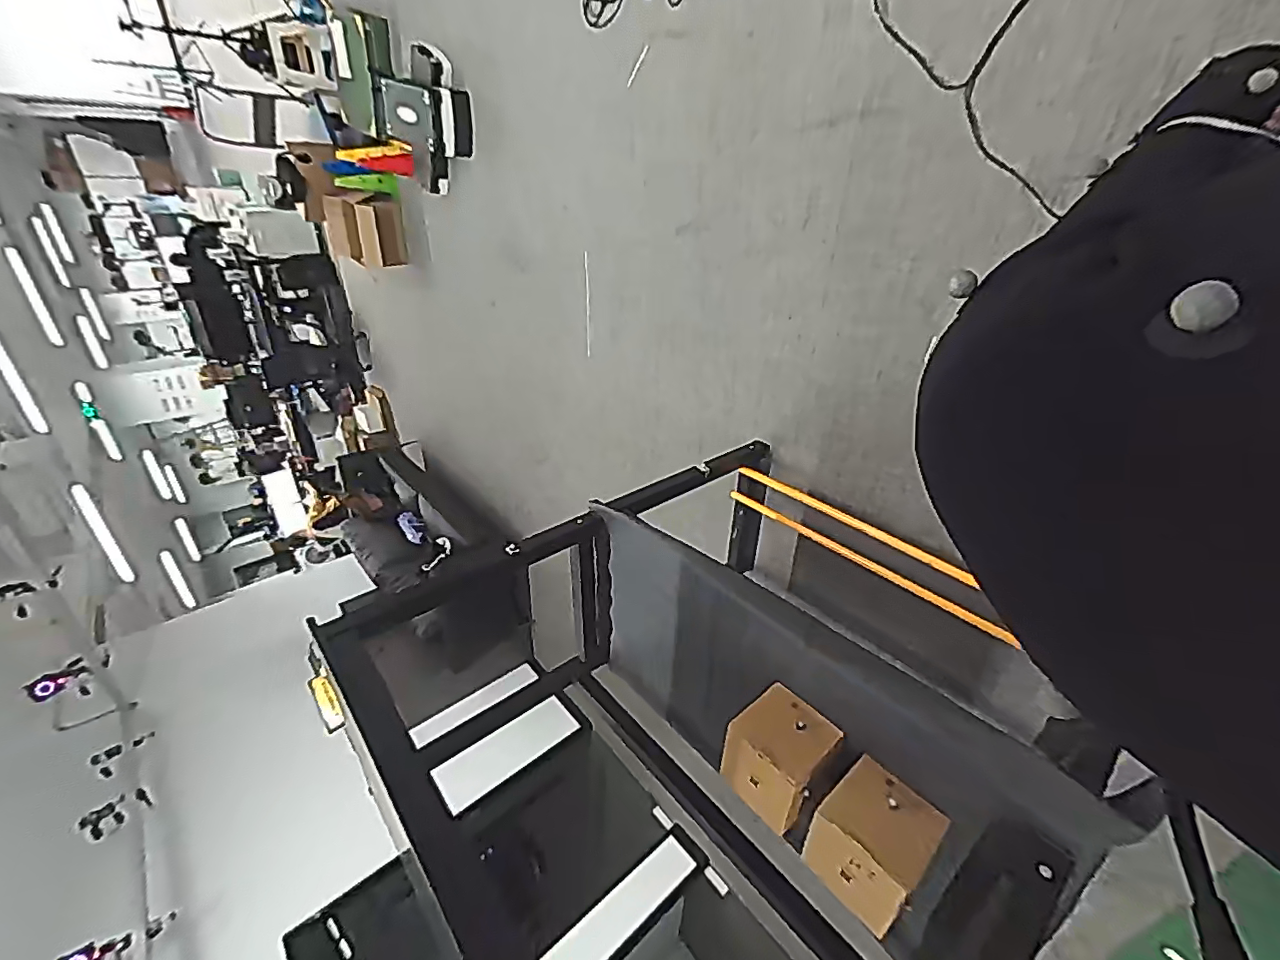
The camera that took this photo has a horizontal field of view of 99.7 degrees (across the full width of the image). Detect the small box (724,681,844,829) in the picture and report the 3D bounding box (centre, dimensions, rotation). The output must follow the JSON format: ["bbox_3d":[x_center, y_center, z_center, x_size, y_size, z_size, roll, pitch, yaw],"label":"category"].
[{"bbox_3d":[0.297,0.562,1.121,0.168,0.176,0.179,31,131,40],"label":"small box"}]

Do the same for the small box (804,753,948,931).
[{"bbox_3d":[0.429,0.650,0.988,0.168,0.176,0.179,30,131,41],"label":"small box"}]
